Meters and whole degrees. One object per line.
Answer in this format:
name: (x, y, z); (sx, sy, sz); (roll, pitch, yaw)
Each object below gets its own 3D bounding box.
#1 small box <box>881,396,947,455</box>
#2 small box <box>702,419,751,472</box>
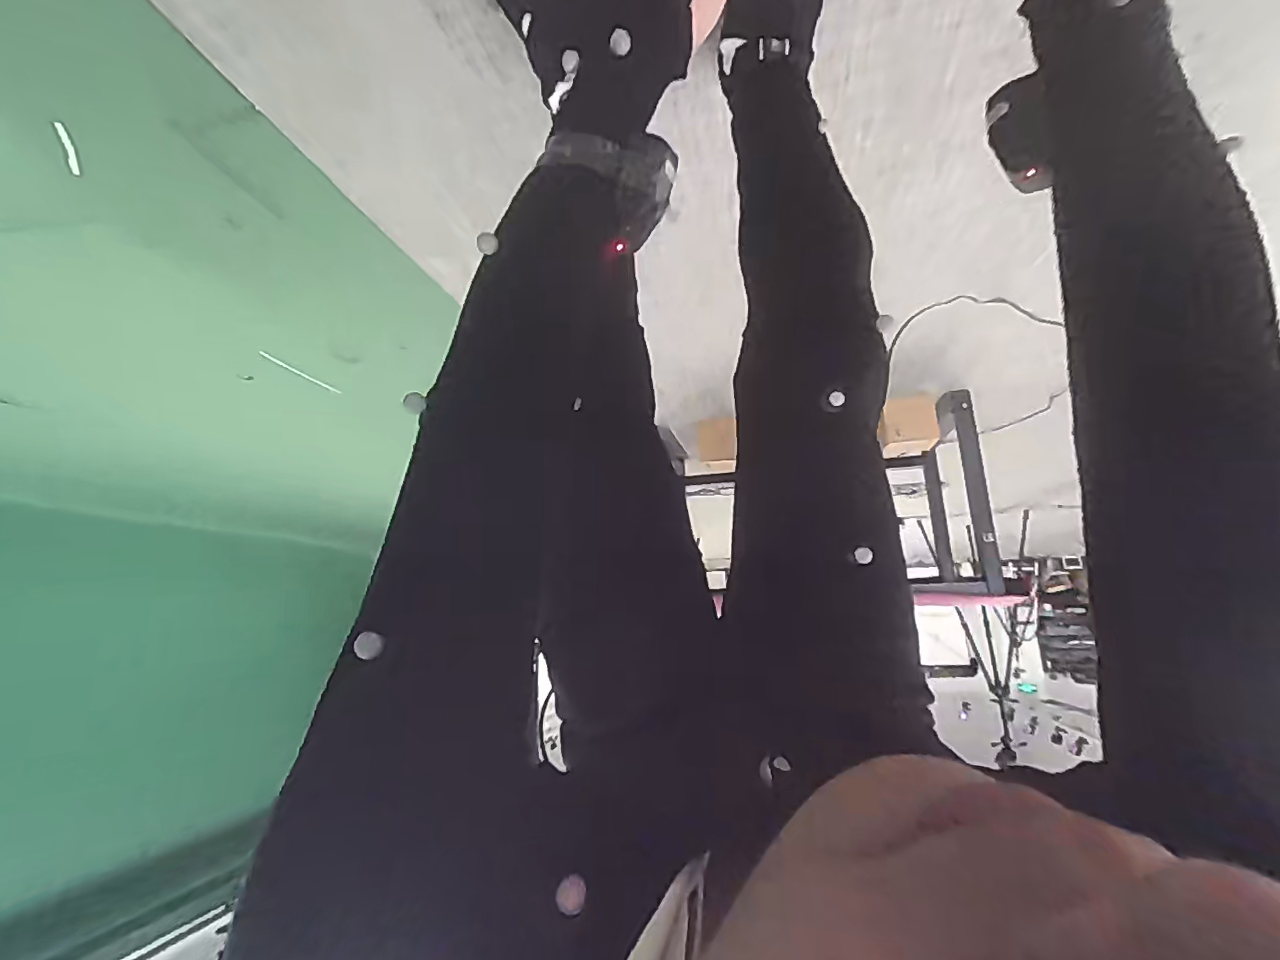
small box: (0.997, -0.200, 1.982); (0.179, 0.176, 0.168); (-5, 166, 15)
small box: (0.347, -0.140, 2.162); (0.179, 0.176, 0.168); (-5, 166, 11)
